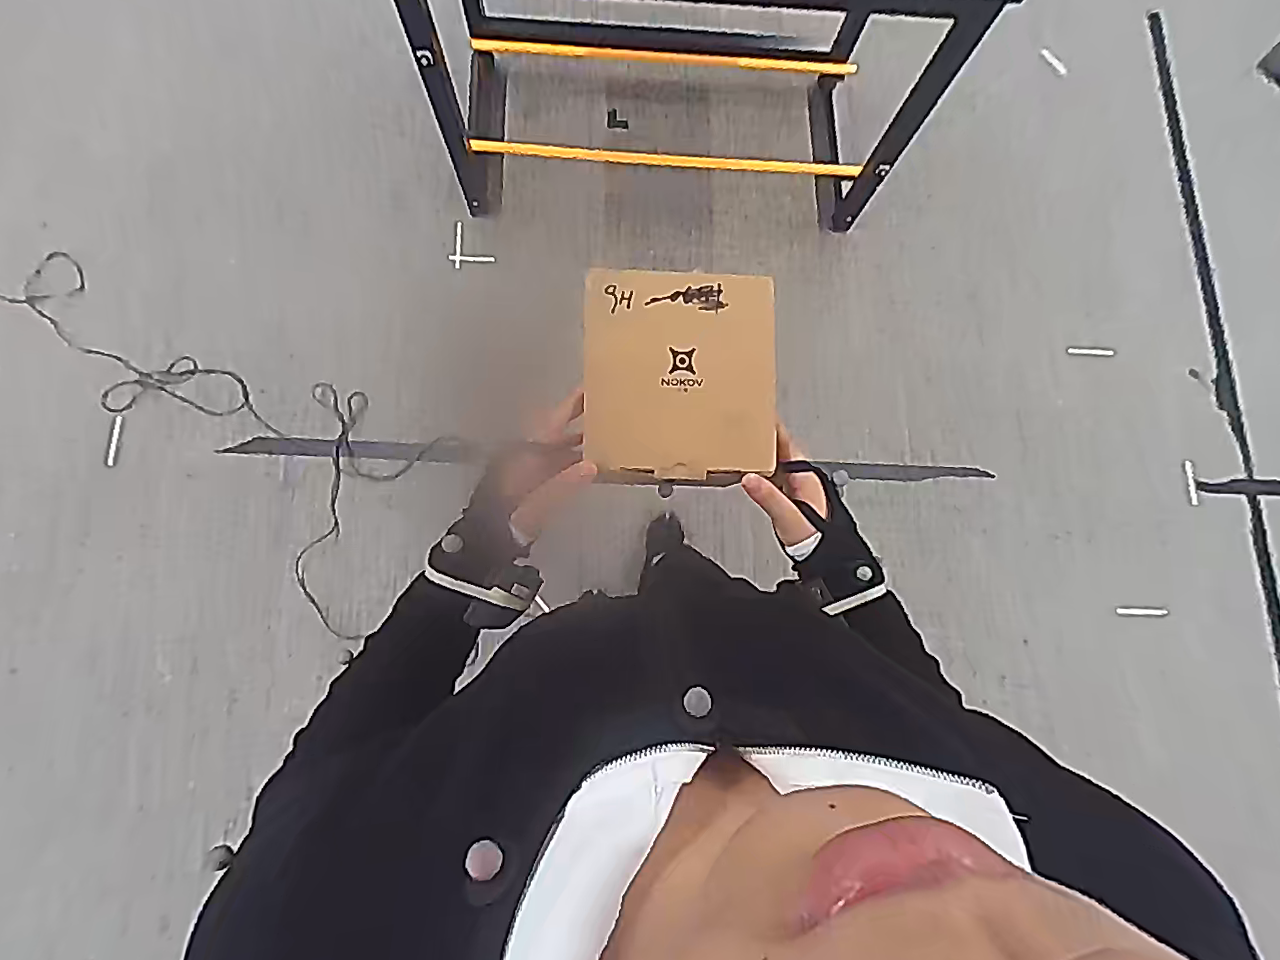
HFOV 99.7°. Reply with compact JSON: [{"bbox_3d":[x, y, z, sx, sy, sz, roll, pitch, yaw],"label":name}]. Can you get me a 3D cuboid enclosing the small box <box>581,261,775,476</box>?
[{"bbox_3d":[0.029,-0.095,0.542,0.168,0.176,0.179,1,86,-5],"label":"small box"}]
